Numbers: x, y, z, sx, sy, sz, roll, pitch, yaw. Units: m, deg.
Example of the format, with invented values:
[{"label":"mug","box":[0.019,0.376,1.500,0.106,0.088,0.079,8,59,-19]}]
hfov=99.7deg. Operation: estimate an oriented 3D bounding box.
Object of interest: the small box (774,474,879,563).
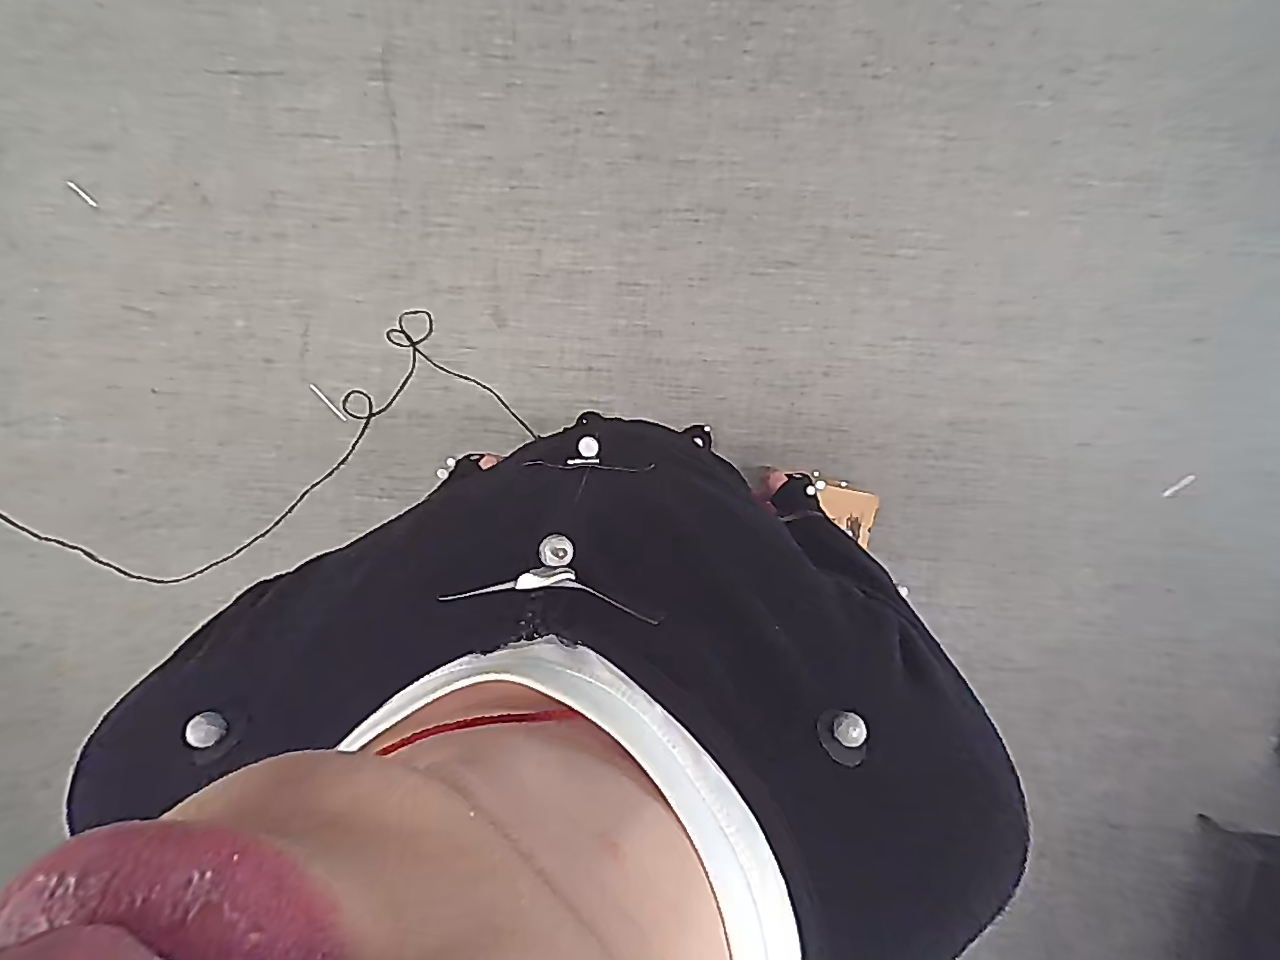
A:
[{"label":"small box","box":[0.443,0.086,1.308,0.179,0.176,0.168,12,97,1]}]

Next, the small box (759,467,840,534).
[{"label":"small box","box":[0.439,0.063,1.471,0.179,0.176,0.168,10,97,0]}]
